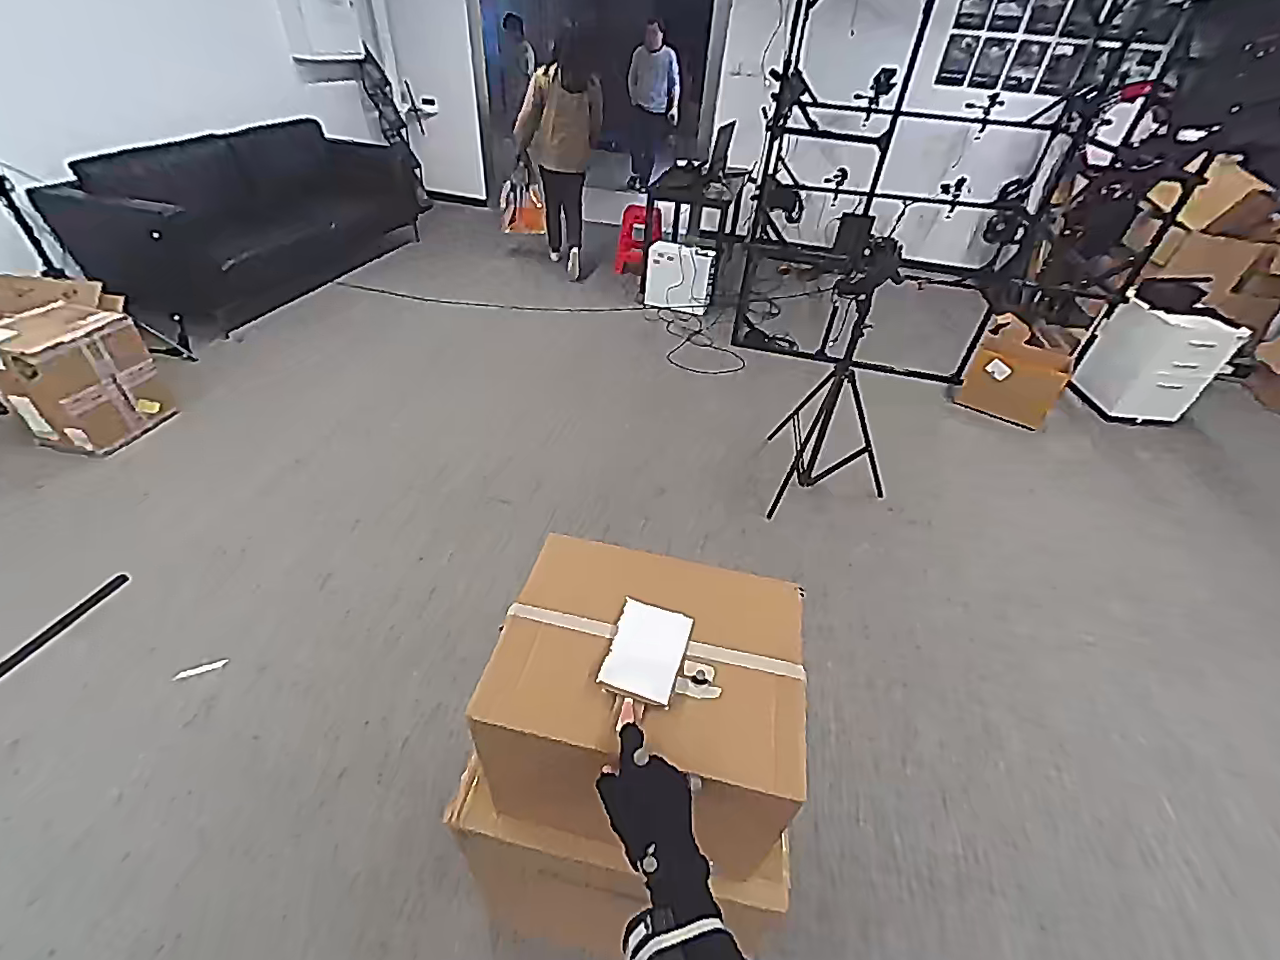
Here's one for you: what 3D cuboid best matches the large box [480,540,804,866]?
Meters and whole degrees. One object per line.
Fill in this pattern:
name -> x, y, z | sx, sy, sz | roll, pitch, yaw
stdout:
large box -> 0.010, 0.340, 0.848 | 0.408, 0.320, 0.320 | 11, 41, 6
